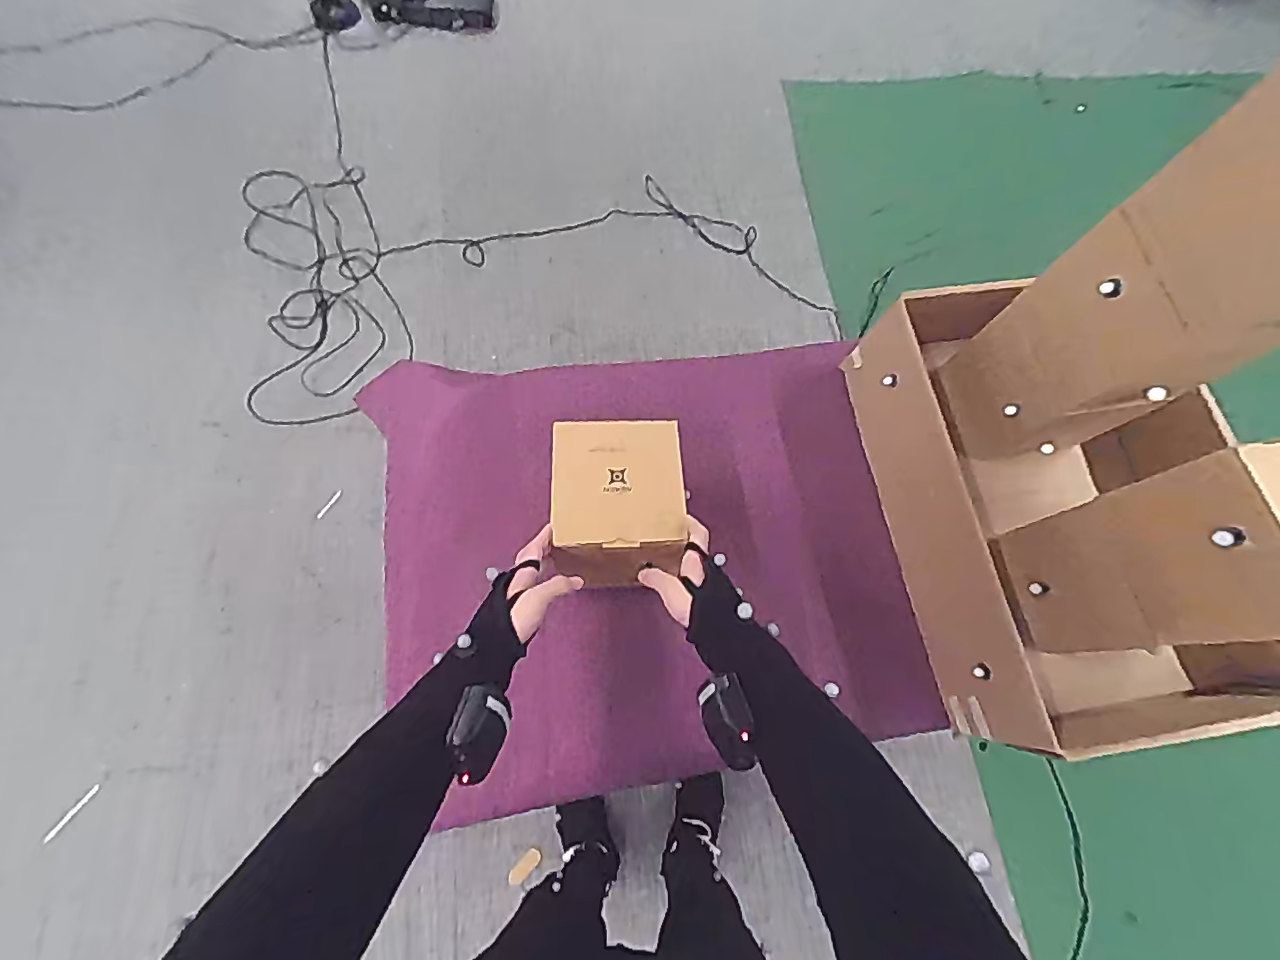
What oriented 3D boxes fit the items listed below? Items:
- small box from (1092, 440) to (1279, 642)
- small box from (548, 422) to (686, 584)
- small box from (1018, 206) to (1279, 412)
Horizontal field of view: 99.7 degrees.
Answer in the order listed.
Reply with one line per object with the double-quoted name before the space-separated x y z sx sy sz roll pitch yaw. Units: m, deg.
"small box" 0.636 0.067 0.557 0.168 0.176 0.179 -8 70 -4
"small box" -0.032 0.039 0.742 0.168 0.176 0.179 -1 61 -5
"small box" 0.604 -0.202 0.645 0.168 0.176 0.179 -9 73 -5
